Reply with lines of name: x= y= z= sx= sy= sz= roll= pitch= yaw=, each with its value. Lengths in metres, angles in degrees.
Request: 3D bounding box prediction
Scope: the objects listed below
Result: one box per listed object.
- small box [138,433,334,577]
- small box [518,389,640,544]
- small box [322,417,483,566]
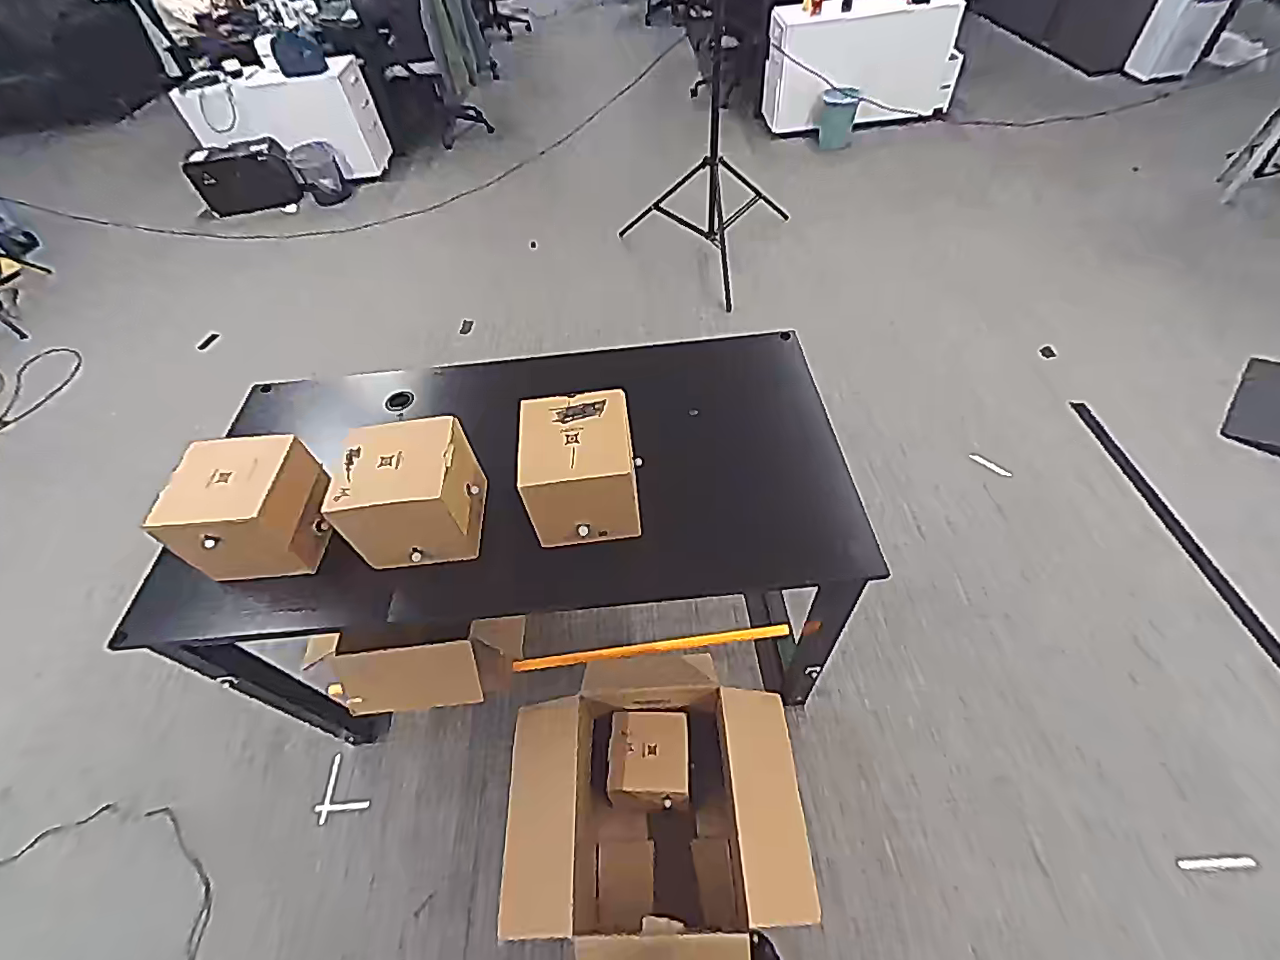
small box: x=-0.624 y=0.045 z=0.873 sx=0.179 sy=0.176 sz=0.168 roll=-5 pitch=53 yaw=1
small box: x=-0.092 y=-0.019 z=0.871 sx=0.168 sy=0.176 sz=0.179 roll=-7 pitch=52 yaw=0
small box: x=-0.361 y=0.022 z=0.866 sx=0.179 sy=0.176 sz=0.168 roll=-6 pitch=51 yaw=-1
